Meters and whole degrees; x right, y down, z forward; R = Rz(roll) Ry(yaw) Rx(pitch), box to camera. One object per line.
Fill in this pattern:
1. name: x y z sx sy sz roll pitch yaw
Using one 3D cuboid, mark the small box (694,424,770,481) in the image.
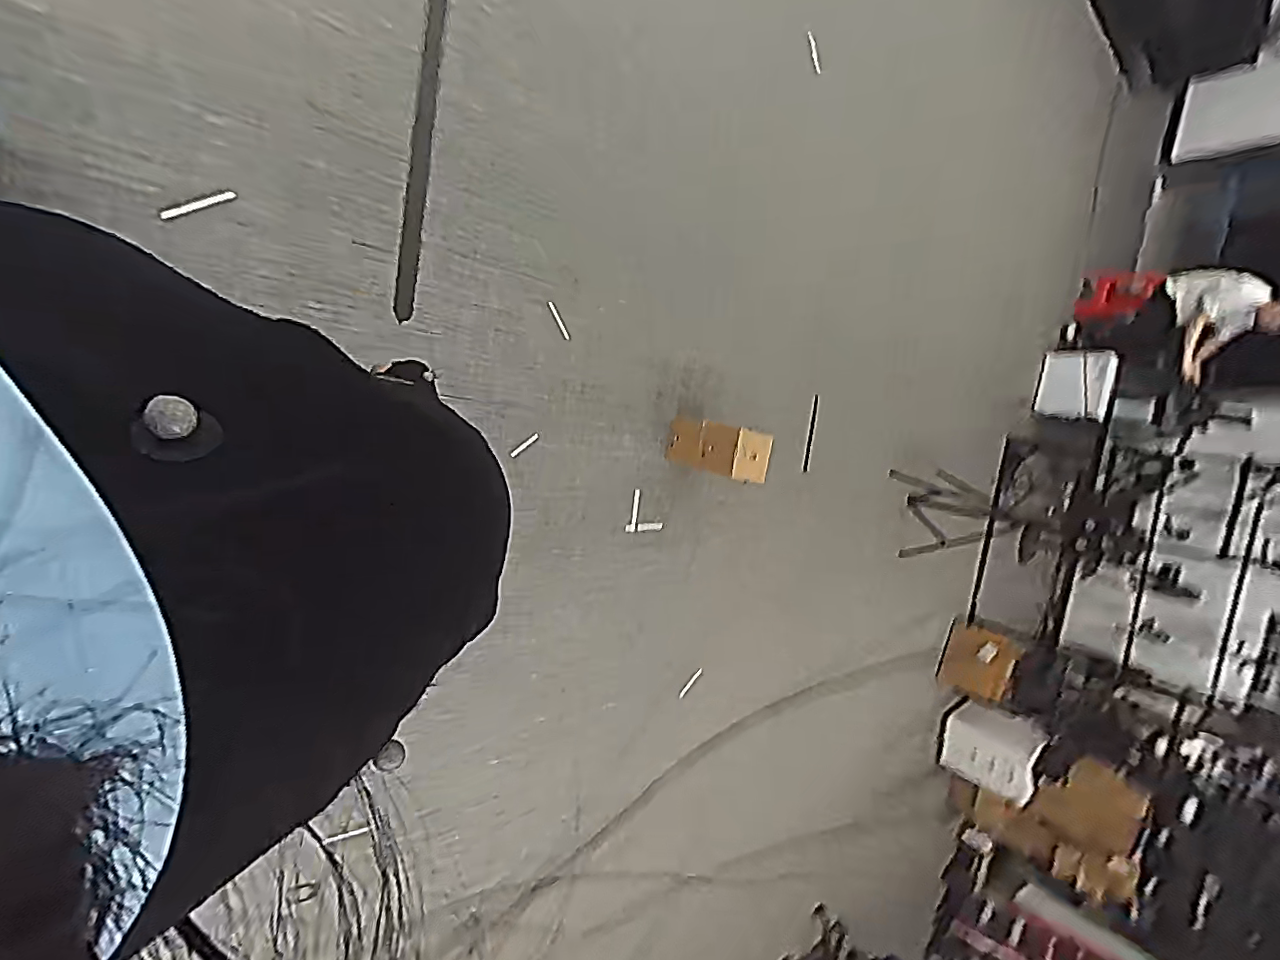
1. small box: 0.318 -0.097 1.878 0.179 0.176 0.168 9 93 -39
